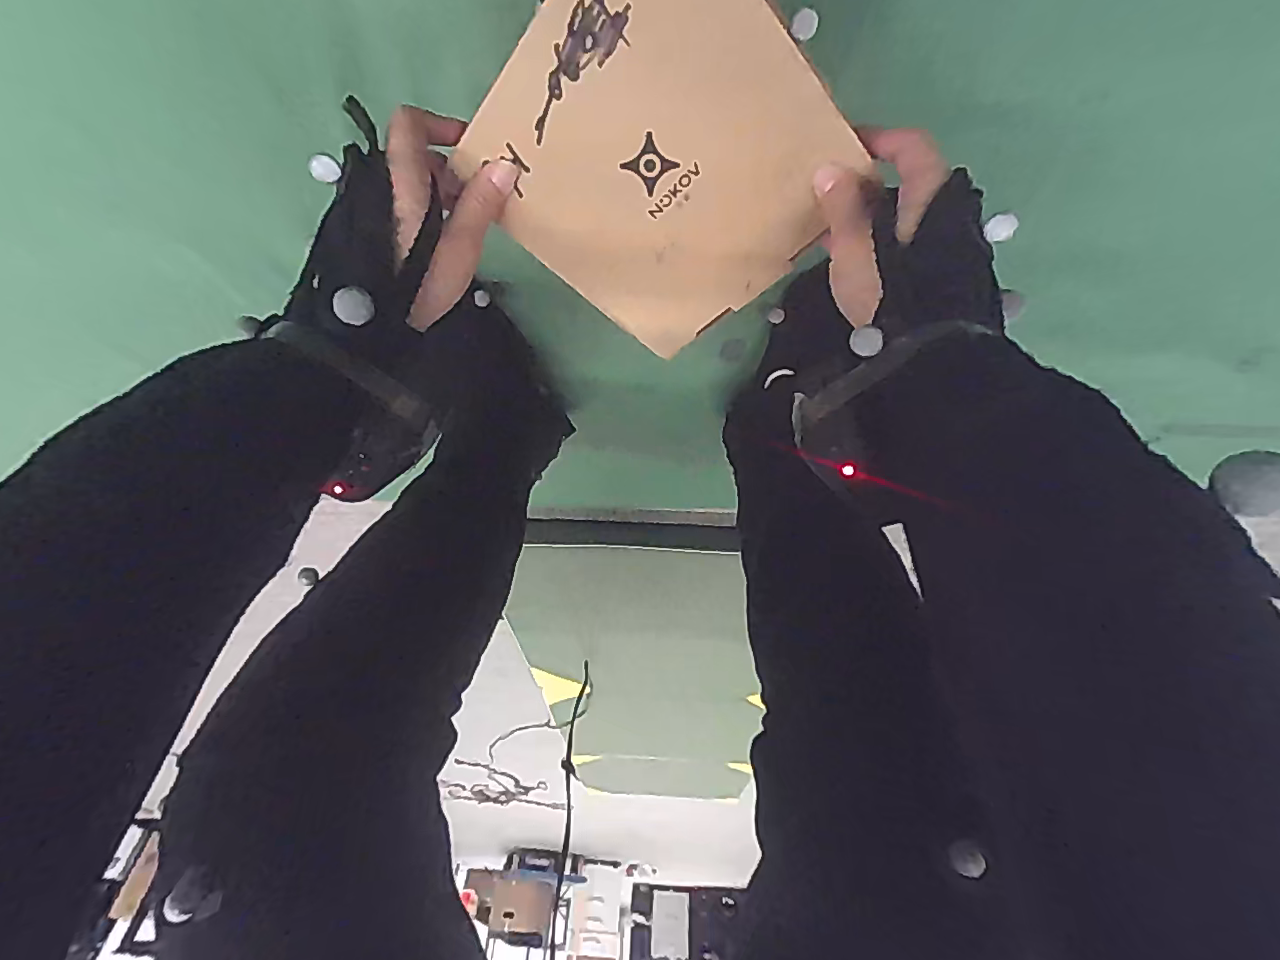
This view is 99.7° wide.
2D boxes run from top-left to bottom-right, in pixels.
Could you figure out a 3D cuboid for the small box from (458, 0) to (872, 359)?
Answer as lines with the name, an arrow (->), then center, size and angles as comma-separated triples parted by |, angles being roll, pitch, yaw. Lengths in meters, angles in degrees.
small box -> 0.018, -0.222, 0.353 | 0.179, 0.176, 0.168 | 33, 131, -30
